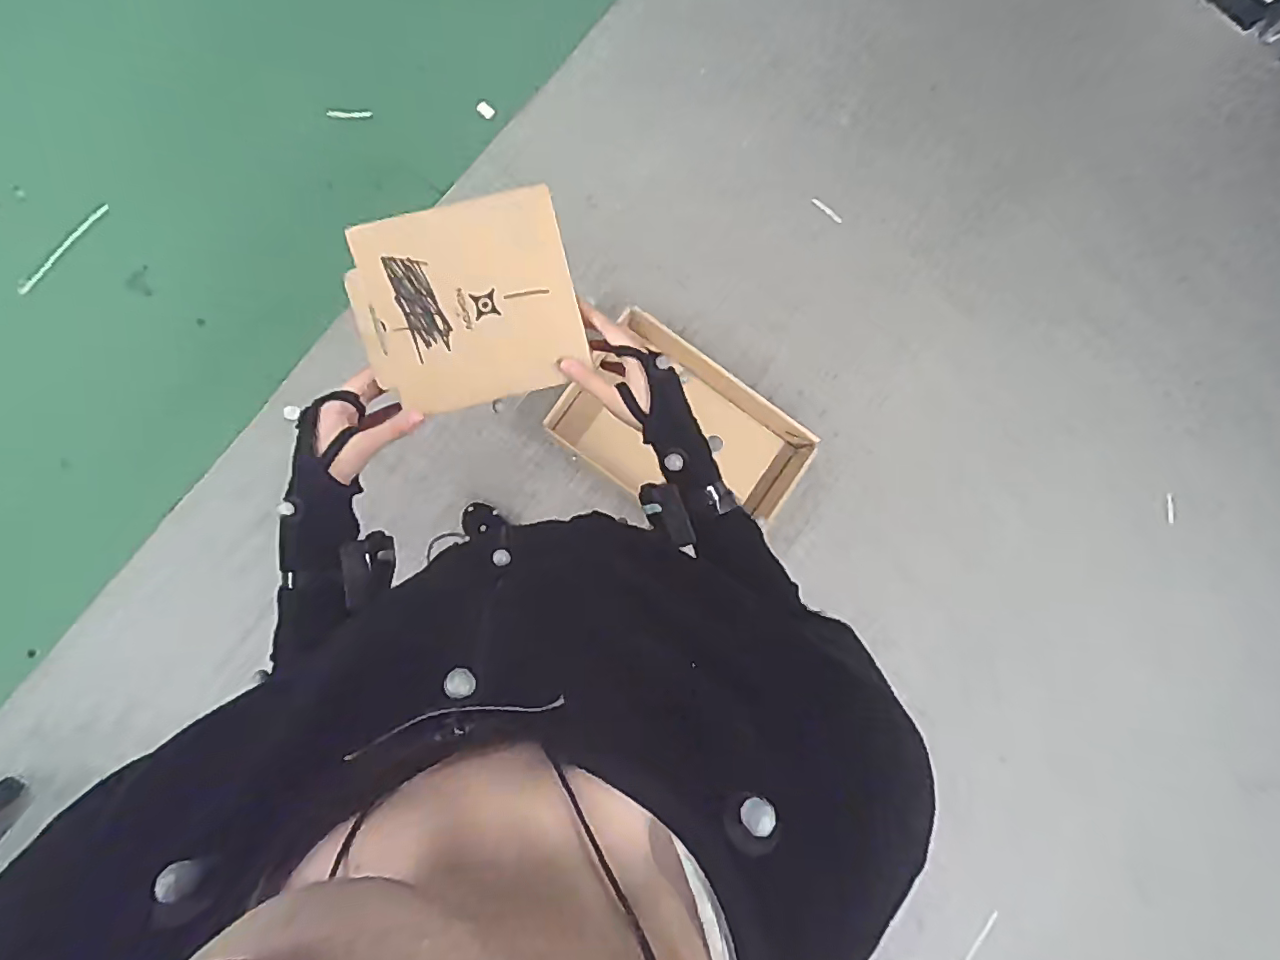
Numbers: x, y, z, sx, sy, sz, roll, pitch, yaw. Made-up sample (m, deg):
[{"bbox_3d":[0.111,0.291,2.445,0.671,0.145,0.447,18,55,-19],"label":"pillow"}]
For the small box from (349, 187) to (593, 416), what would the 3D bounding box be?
[{"bbox_3d":[-0.151,-0.168,0.552,0.179,0.176,0.168,-15,102,-2],"label":"small box"}]
